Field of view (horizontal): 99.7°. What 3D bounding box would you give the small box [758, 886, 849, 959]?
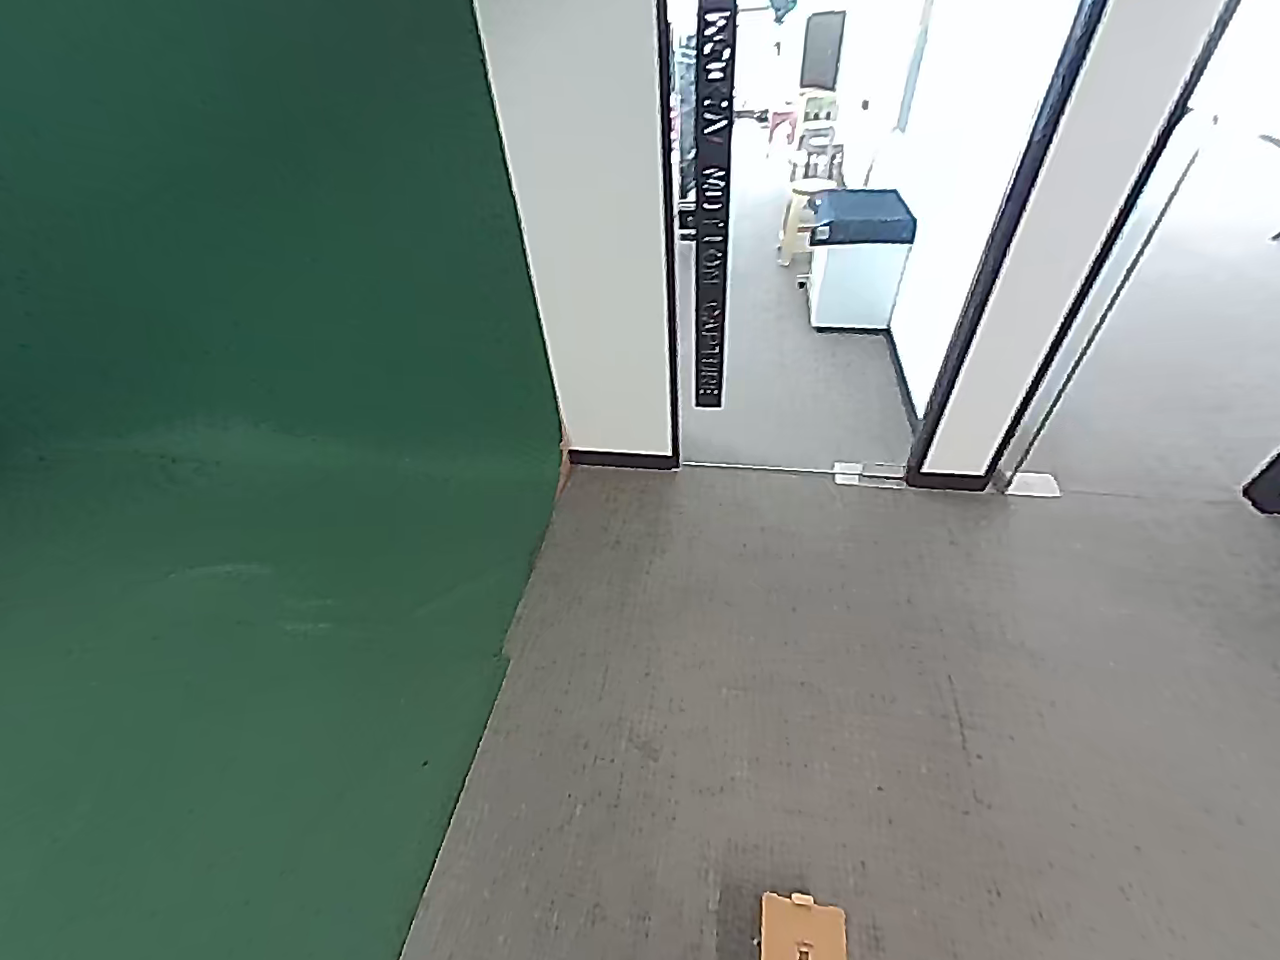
[{"bbox_3d":[0.330,0.974,1.109,0.168,0.176,0.179,5,45,13],"label":"small box"}]
